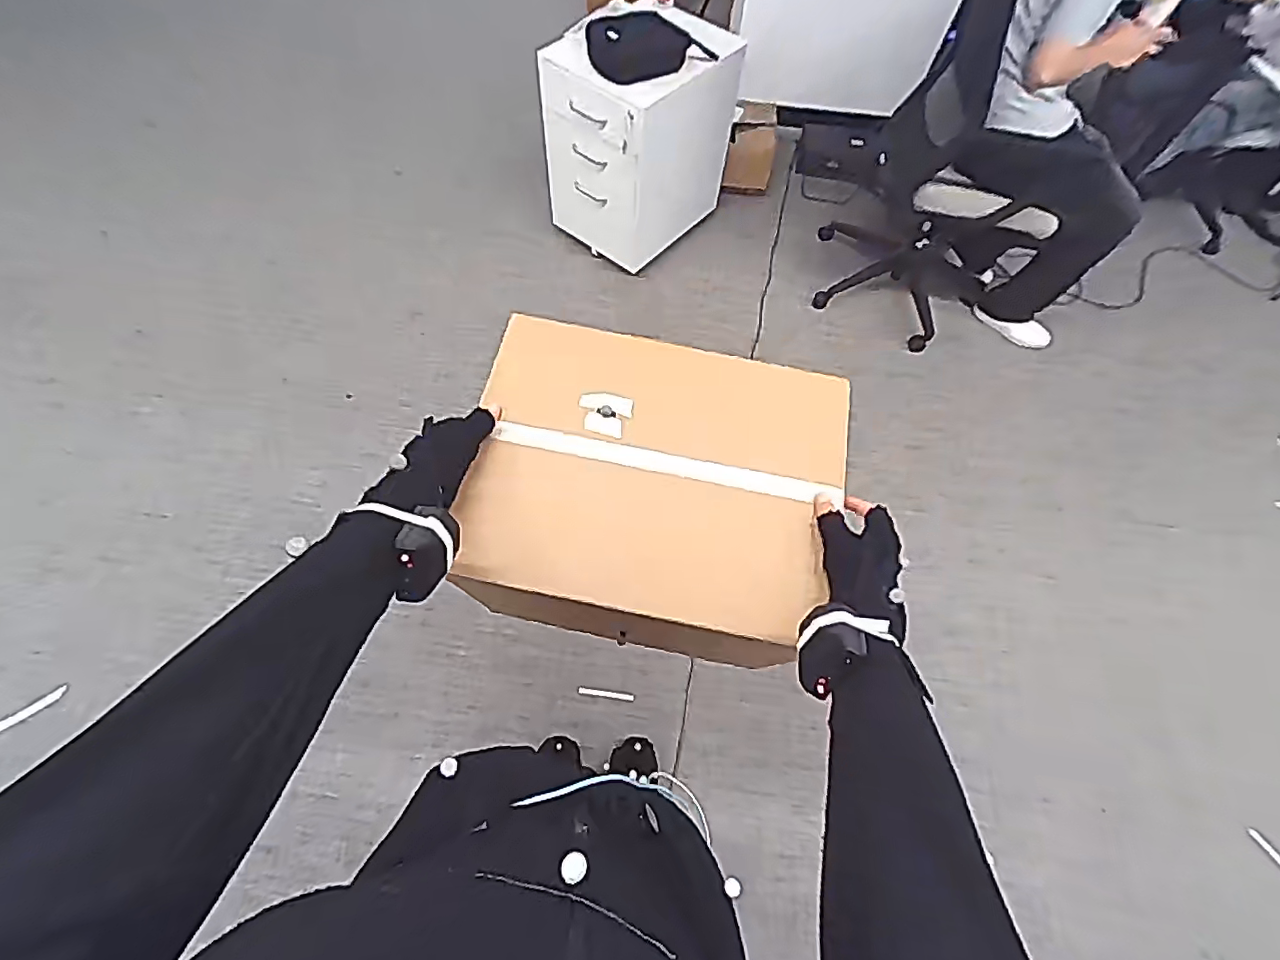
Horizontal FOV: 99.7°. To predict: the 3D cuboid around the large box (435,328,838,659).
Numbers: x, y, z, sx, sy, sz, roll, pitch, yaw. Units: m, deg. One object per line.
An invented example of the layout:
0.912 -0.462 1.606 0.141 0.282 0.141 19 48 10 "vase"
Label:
0.011 0.043 0.730 0.408 0.320 0.320 12 67 3 "large box"
